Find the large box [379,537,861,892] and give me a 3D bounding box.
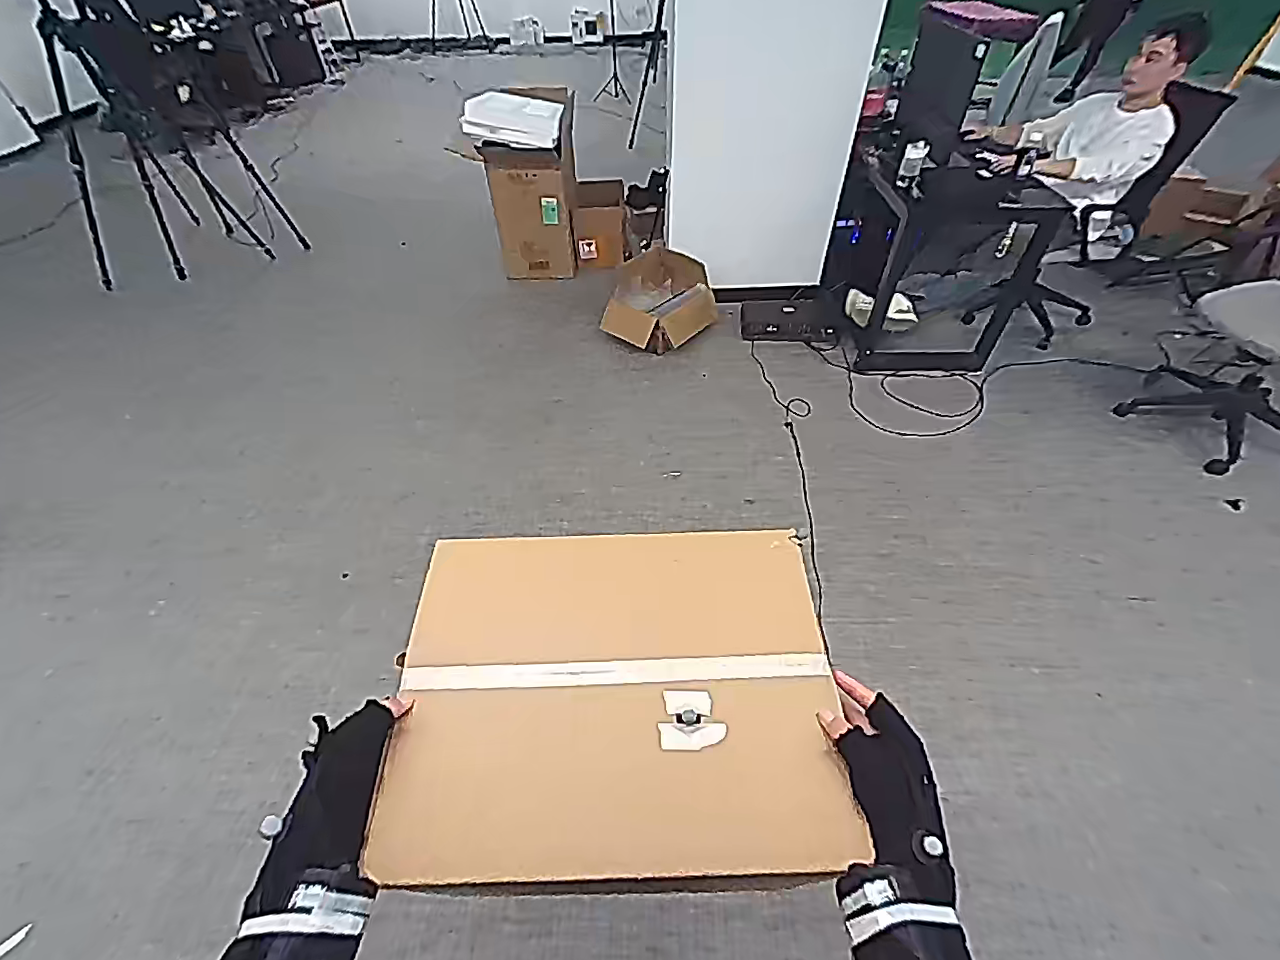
[{"bbox_3d":[-0.020,0.285,0.646,0.408,0.320,0.320,-1,52,0],"label":"large box"}]
